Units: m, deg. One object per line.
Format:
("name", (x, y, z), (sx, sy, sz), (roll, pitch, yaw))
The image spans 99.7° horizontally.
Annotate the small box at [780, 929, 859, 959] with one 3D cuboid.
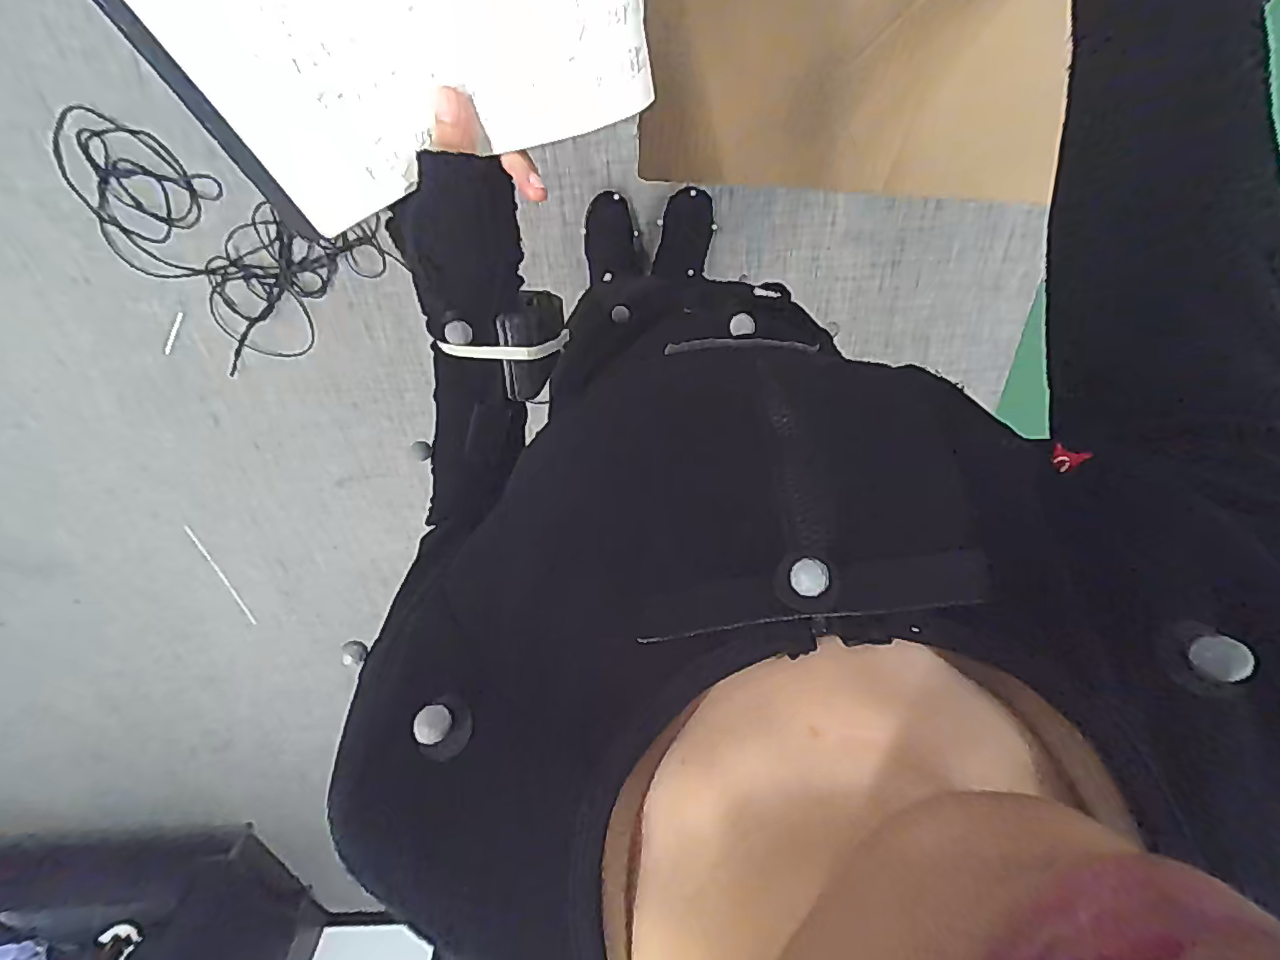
("small box", (0.439, 1.205, 1.295), (0.168, 0.176, 0.179), (-2, 125, 2))
